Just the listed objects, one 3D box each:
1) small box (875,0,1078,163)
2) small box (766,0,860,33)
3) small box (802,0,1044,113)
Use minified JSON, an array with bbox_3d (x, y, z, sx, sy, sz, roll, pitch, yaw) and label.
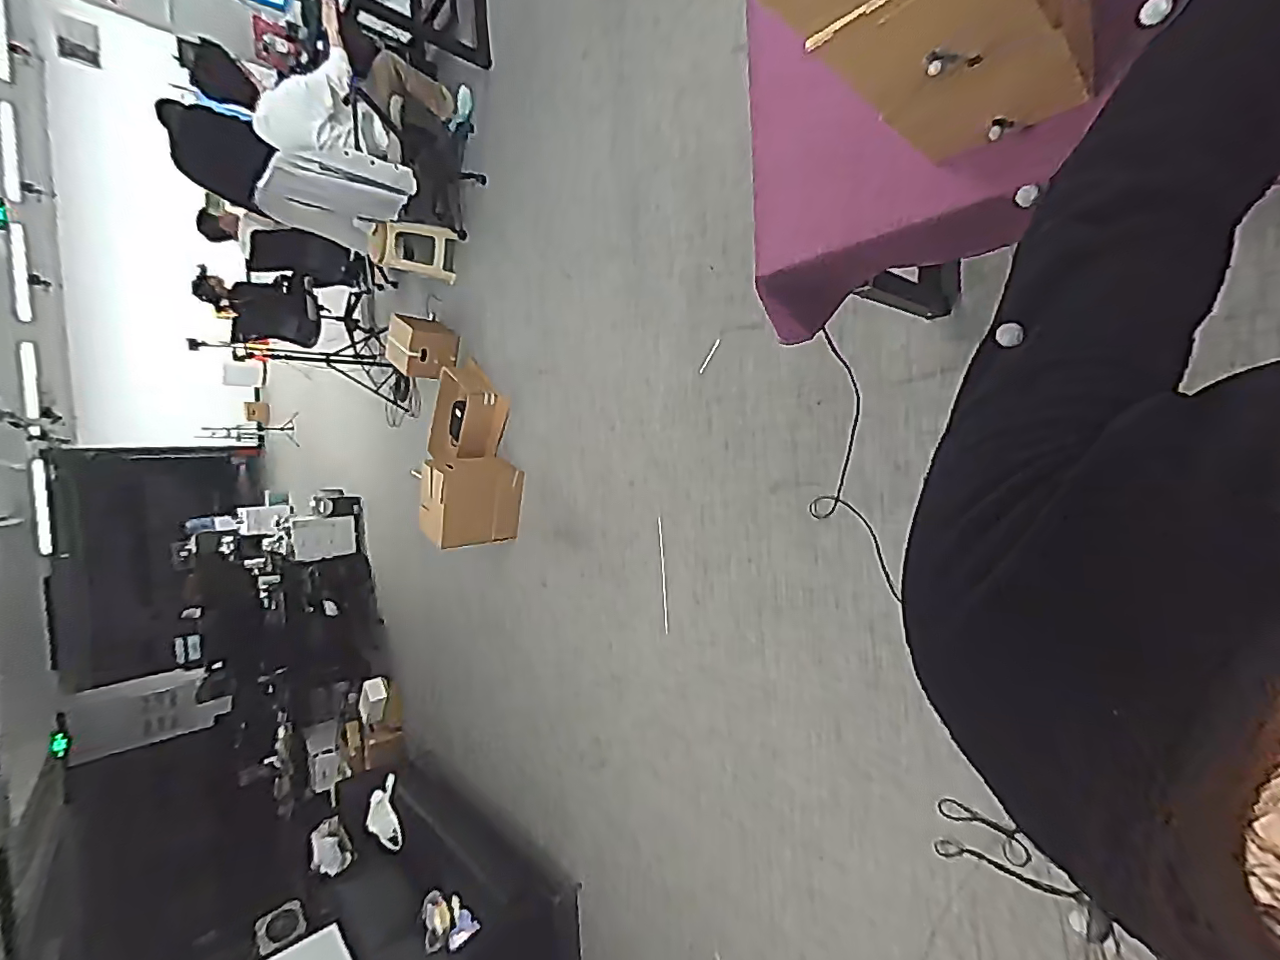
[{"bbox_3d":[0.393,-0.512,0.632,0.179,0.176,0.168,-2,92,47],"label":"small box"},{"bbox_3d":[0.154,-0.498,0.405,0.179,0.176,0.168,3,95,46],"label":"small box"},{"bbox_3d":[0.272,-0.507,0.520,0.168,0.176,0.179,1,94,48],"label":"small box"}]
